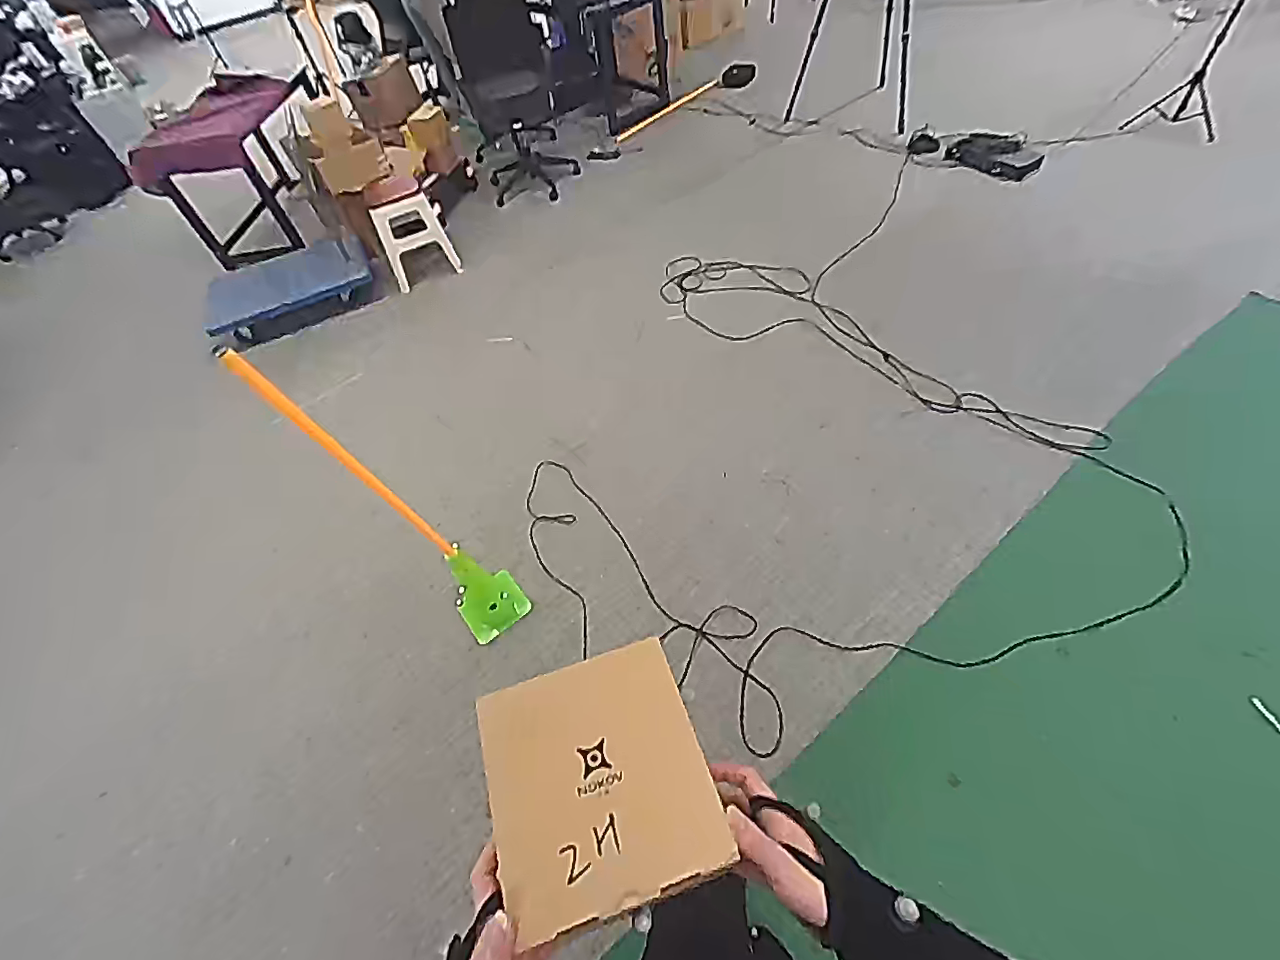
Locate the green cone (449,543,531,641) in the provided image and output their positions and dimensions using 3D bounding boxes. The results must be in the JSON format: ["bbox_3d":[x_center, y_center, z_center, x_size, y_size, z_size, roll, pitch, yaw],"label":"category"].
[{"bbox_3d":[-0.508,0.310,1.673,0.202,0.368,0.200,-35,56,-19],"label":"green cone"}]
